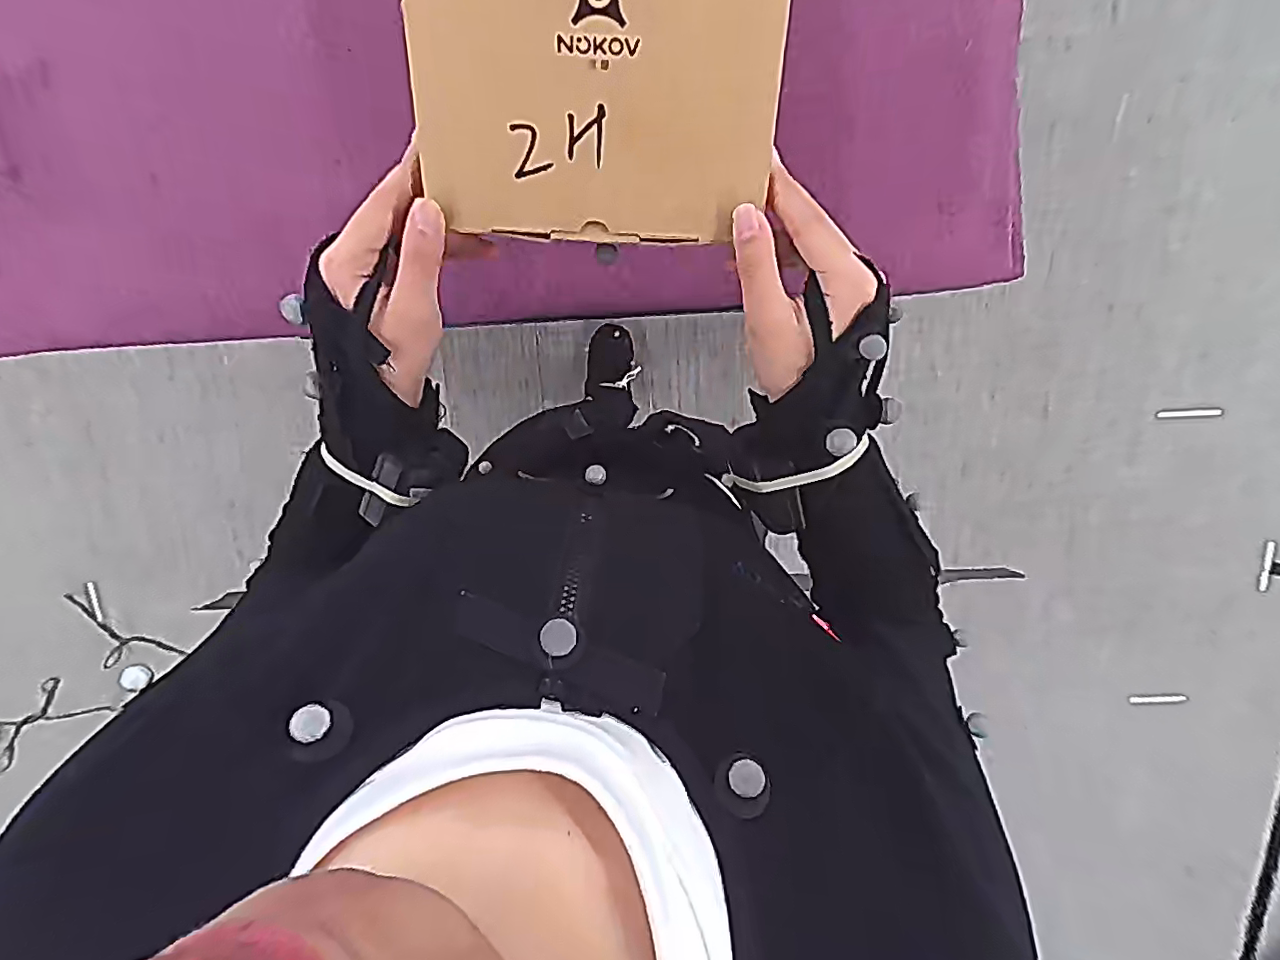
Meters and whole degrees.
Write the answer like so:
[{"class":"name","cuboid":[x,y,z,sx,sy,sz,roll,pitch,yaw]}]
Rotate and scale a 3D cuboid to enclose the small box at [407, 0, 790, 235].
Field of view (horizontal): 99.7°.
[{"class":"small box","cuboid":[-0.017,-0.240,0.302,0.168,0.176,0.179,3,113,-1]}]
